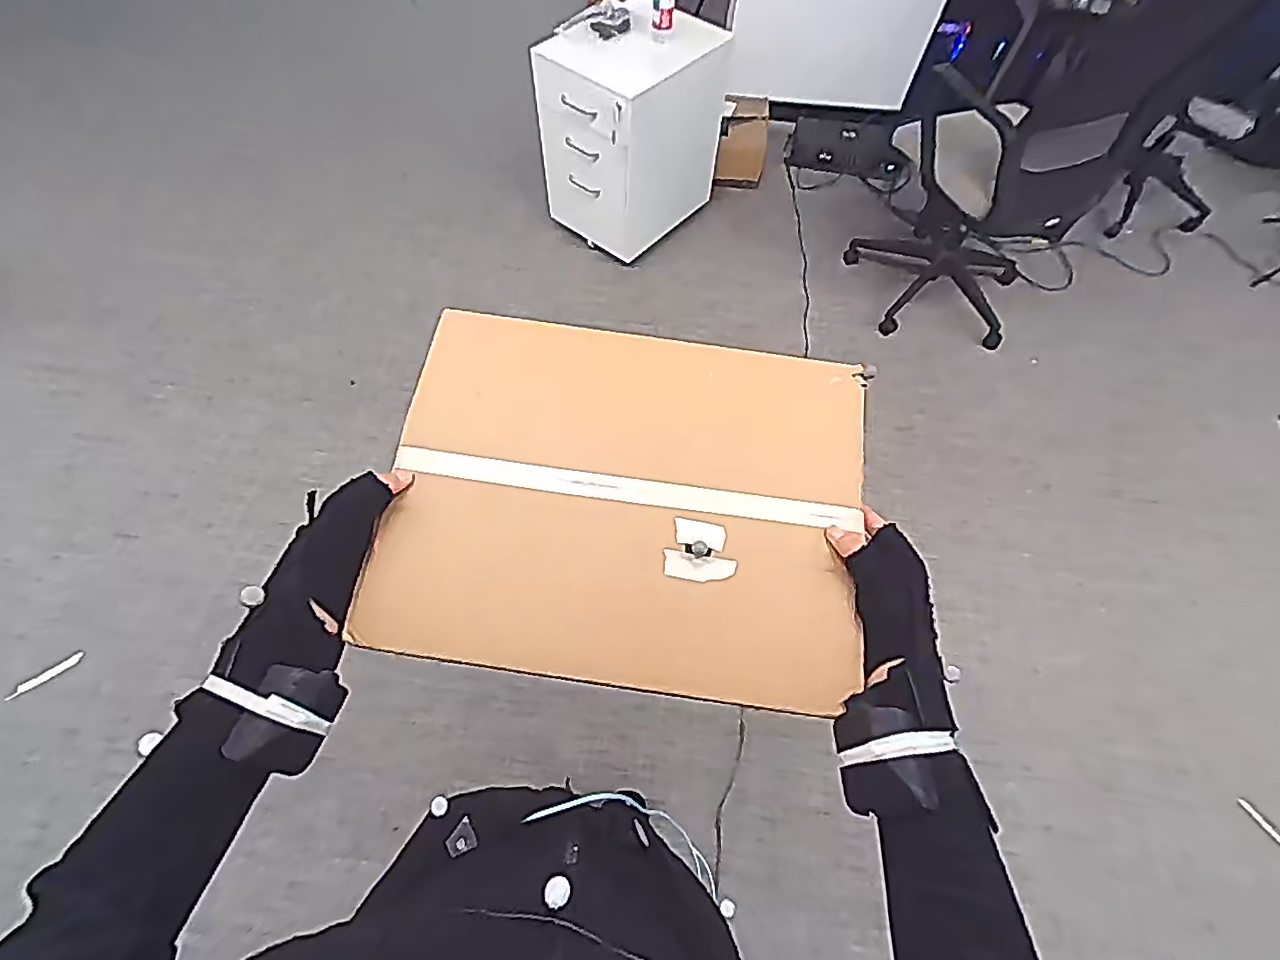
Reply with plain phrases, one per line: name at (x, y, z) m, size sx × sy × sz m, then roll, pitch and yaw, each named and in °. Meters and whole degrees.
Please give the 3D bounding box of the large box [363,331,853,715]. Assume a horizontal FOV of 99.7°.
large box at (-0.015, 0.069, 0.620) m, size 0.408 × 0.320 × 0.320 m, roll 8°, pitch 71°, yaw 1°
